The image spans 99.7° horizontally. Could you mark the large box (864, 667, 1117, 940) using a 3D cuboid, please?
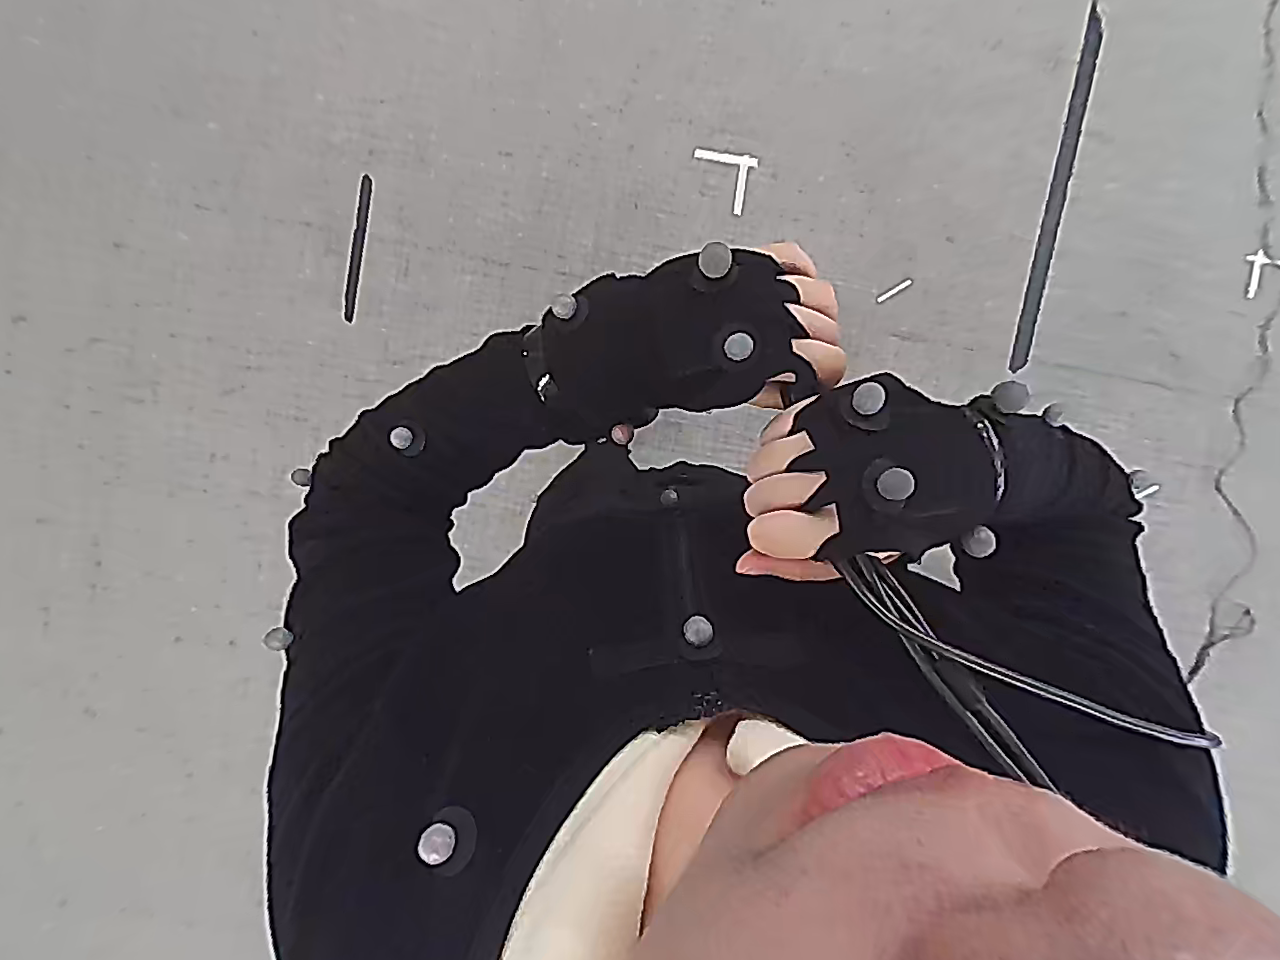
[{"bbox_3d":[0.747,0.686,1.209,0.320,0.320,0.408,12,93,-1],"label":"large box"}]
